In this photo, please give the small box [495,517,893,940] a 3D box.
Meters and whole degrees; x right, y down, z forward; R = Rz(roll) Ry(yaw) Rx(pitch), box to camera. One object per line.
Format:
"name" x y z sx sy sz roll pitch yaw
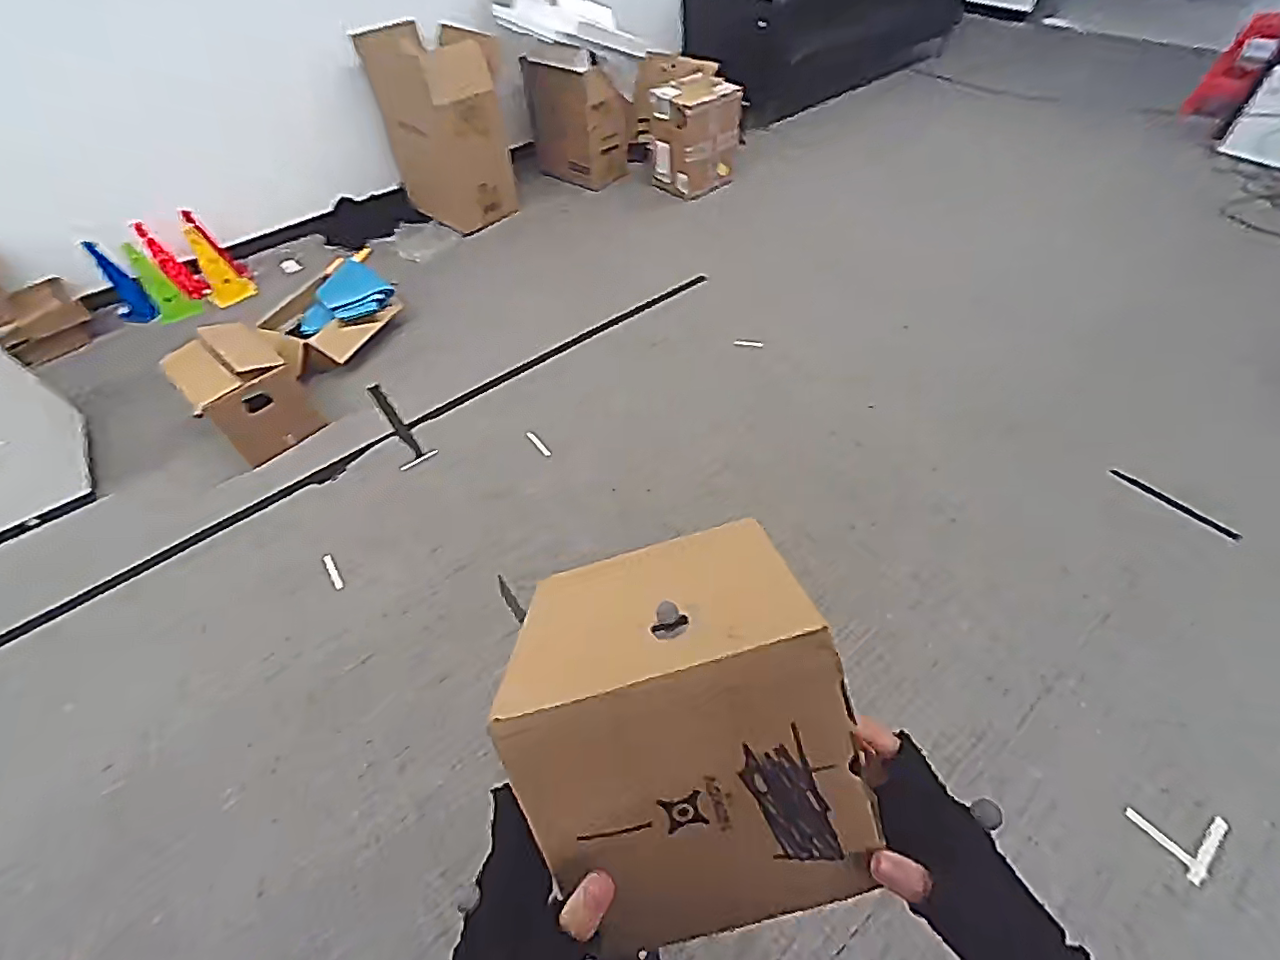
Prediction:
"small box" 0.032 0.140 0.356 0.179 0.168 0.176 -16 13 5
